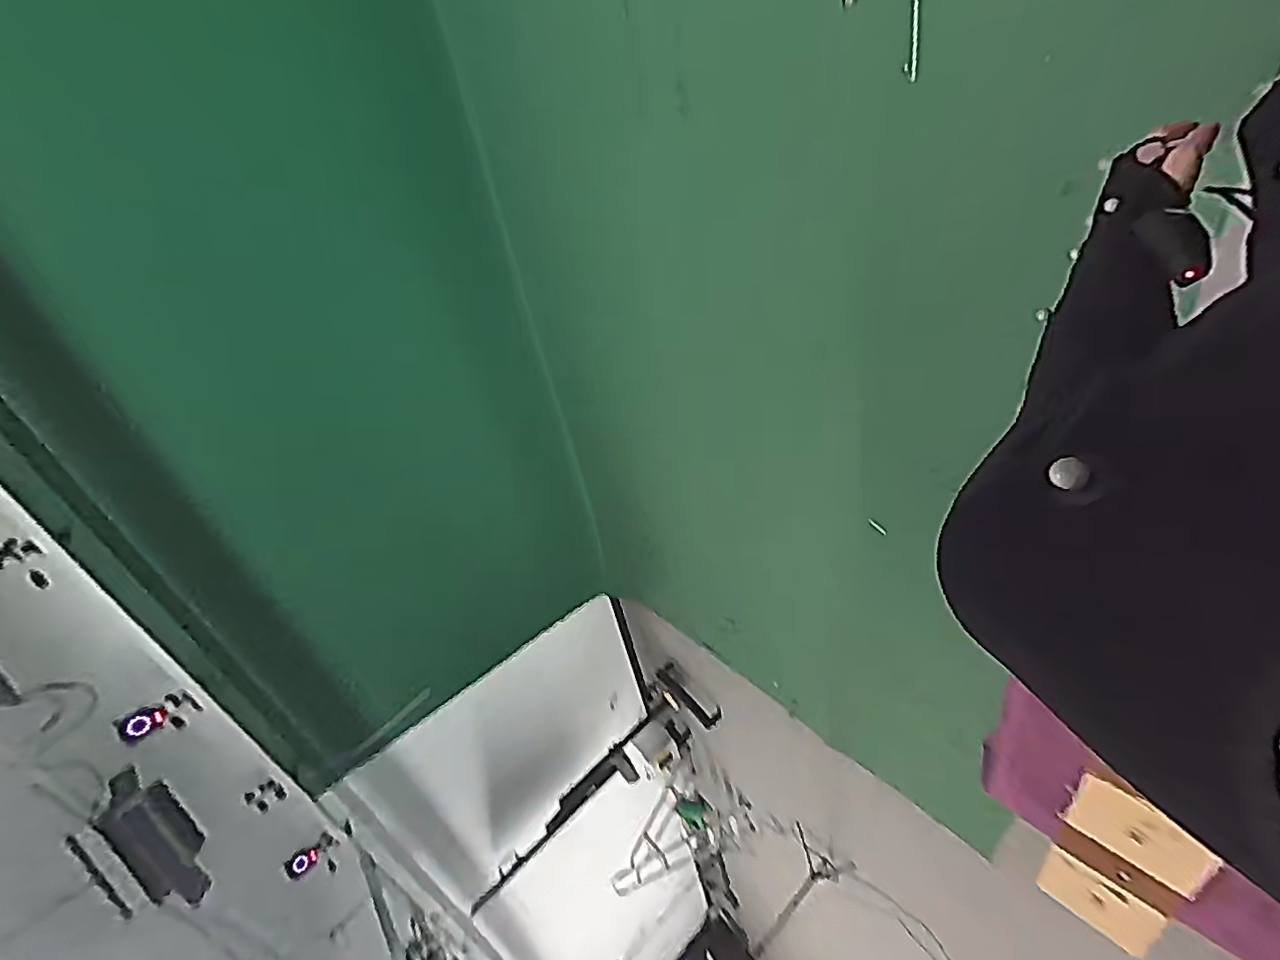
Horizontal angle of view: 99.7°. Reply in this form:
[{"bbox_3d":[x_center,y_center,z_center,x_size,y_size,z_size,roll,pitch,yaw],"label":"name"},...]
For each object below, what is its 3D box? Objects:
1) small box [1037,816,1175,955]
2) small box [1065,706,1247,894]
[{"bbox_3d":[0.906,0.740,1.042,0.168,0.176,0.179,24,137,46],"label":"small box"},{"bbox_3d":[0.856,0.524,0.903,0.168,0.176,0.179,26,139,44],"label":"small box"}]
